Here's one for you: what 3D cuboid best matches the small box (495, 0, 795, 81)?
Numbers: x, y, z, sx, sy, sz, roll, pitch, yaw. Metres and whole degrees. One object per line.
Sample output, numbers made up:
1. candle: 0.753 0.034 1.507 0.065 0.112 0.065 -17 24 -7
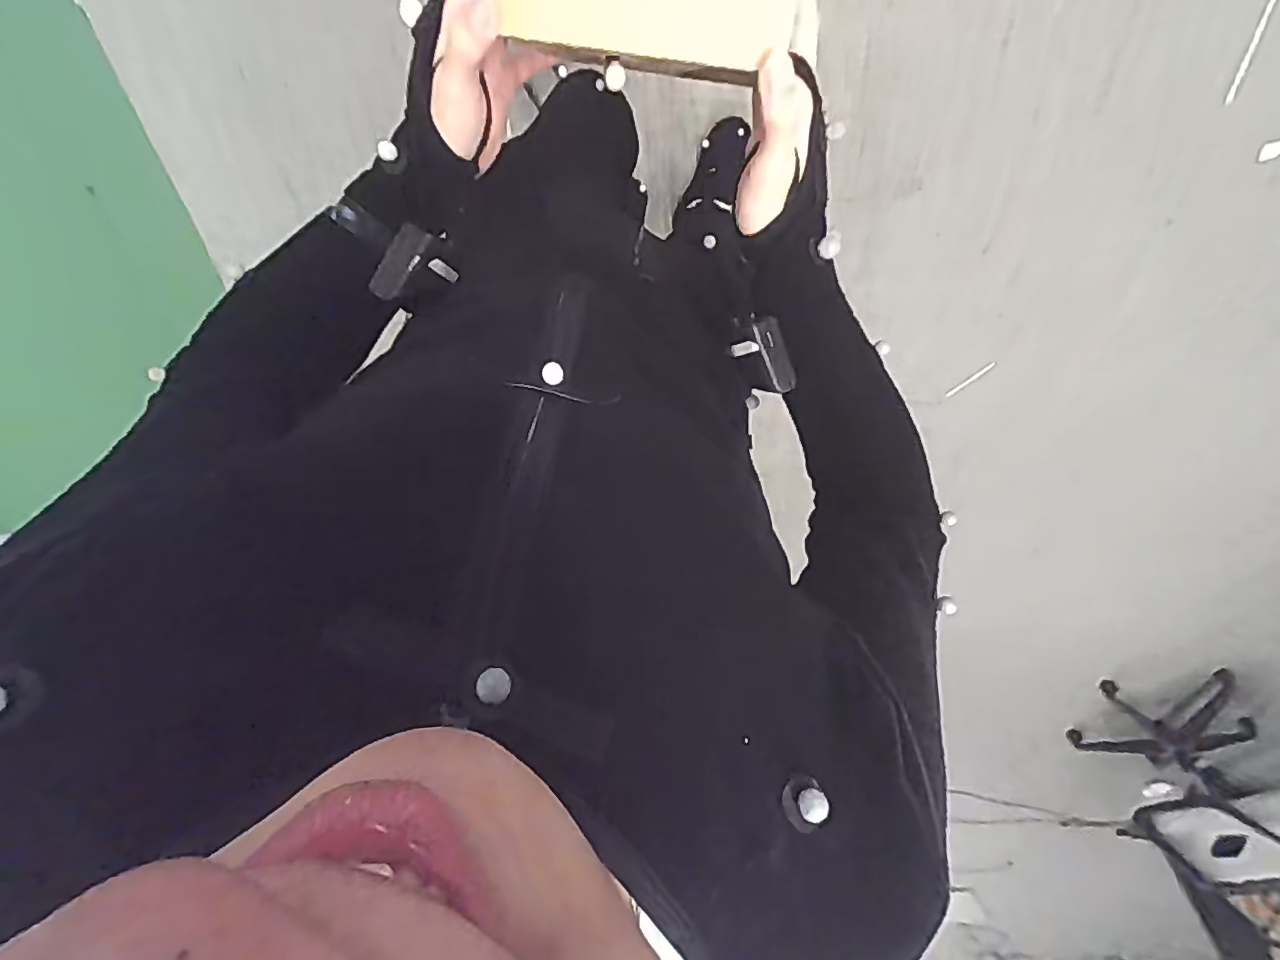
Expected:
1. small box: 0.018 -0.354 0.318 0.168 0.176 0.179 8 123 2
